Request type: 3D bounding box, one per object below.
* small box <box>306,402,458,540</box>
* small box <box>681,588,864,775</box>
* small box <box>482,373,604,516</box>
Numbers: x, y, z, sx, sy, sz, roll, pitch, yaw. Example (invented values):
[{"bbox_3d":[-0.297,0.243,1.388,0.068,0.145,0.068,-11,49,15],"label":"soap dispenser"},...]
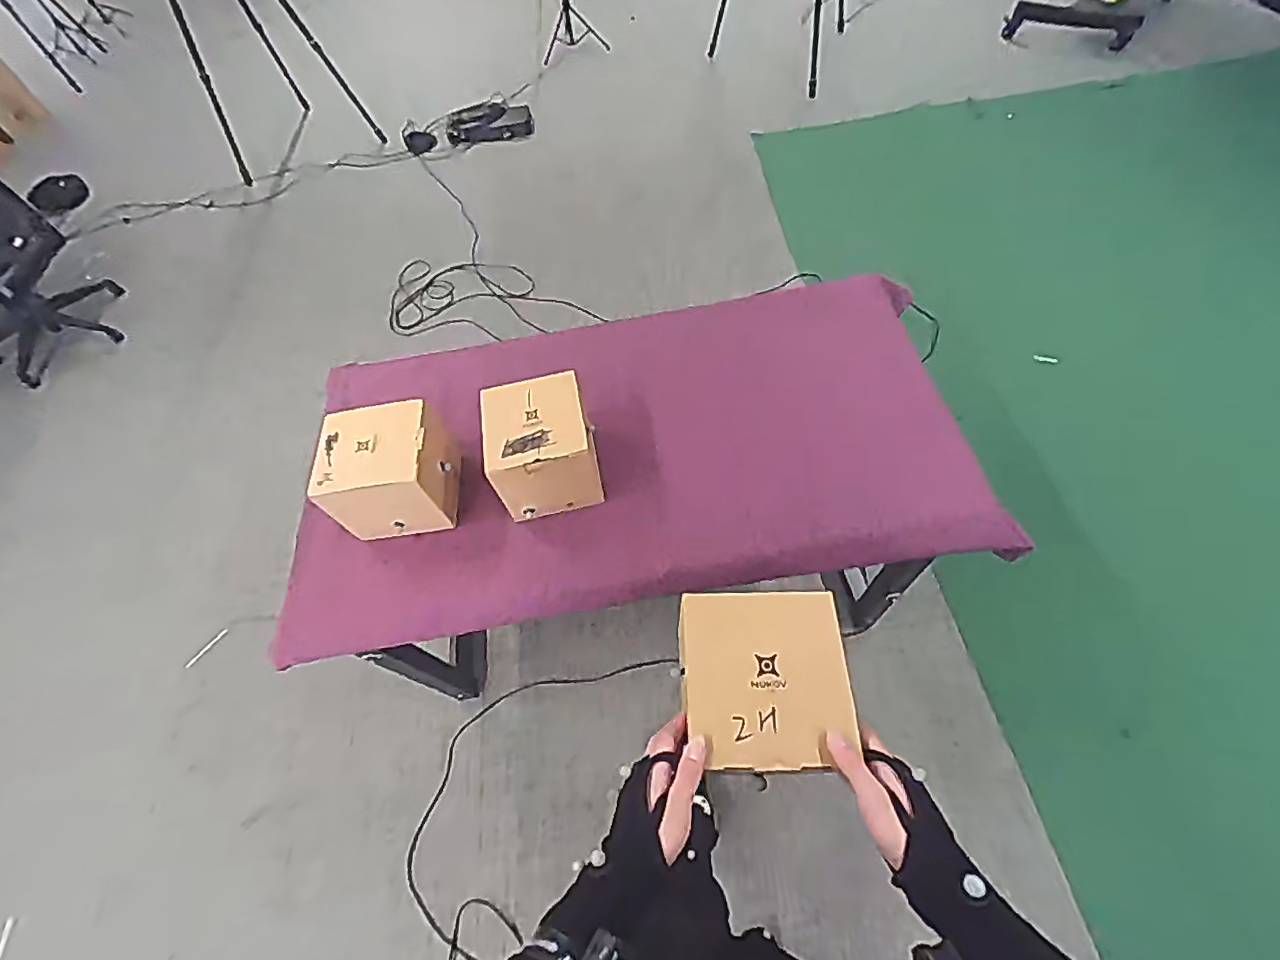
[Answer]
[{"bbox_3d":[-0.429,-0.011,0.935,0.179,0.176,0.168,-7,58,0],"label":"small box"},{"bbox_3d":[0.133,0.234,0.619,0.168,0.176,0.179,-1,61,2],"label":"small box"},{"bbox_3d":[-0.164,-0.052,0.935,0.168,0.176,0.179,-12,58,-2],"label":"small box"}]
